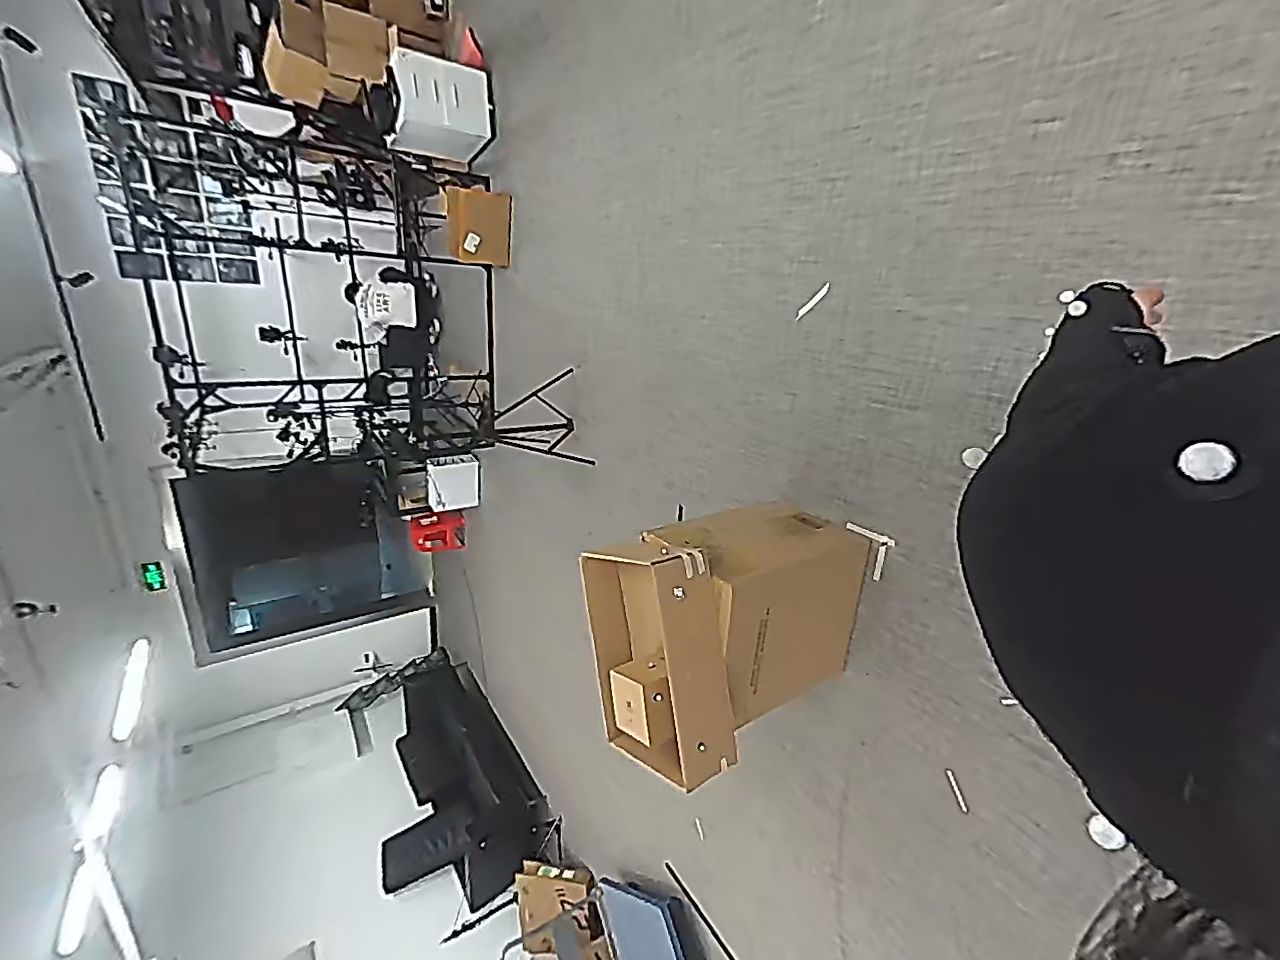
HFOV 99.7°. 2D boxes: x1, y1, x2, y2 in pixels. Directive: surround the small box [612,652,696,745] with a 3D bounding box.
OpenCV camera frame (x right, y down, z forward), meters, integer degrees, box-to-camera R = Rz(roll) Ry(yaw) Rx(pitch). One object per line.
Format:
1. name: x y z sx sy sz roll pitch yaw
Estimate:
1. small box: 0.042 0.613 1.544 0.168 0.176 0.179 -2 96 55
